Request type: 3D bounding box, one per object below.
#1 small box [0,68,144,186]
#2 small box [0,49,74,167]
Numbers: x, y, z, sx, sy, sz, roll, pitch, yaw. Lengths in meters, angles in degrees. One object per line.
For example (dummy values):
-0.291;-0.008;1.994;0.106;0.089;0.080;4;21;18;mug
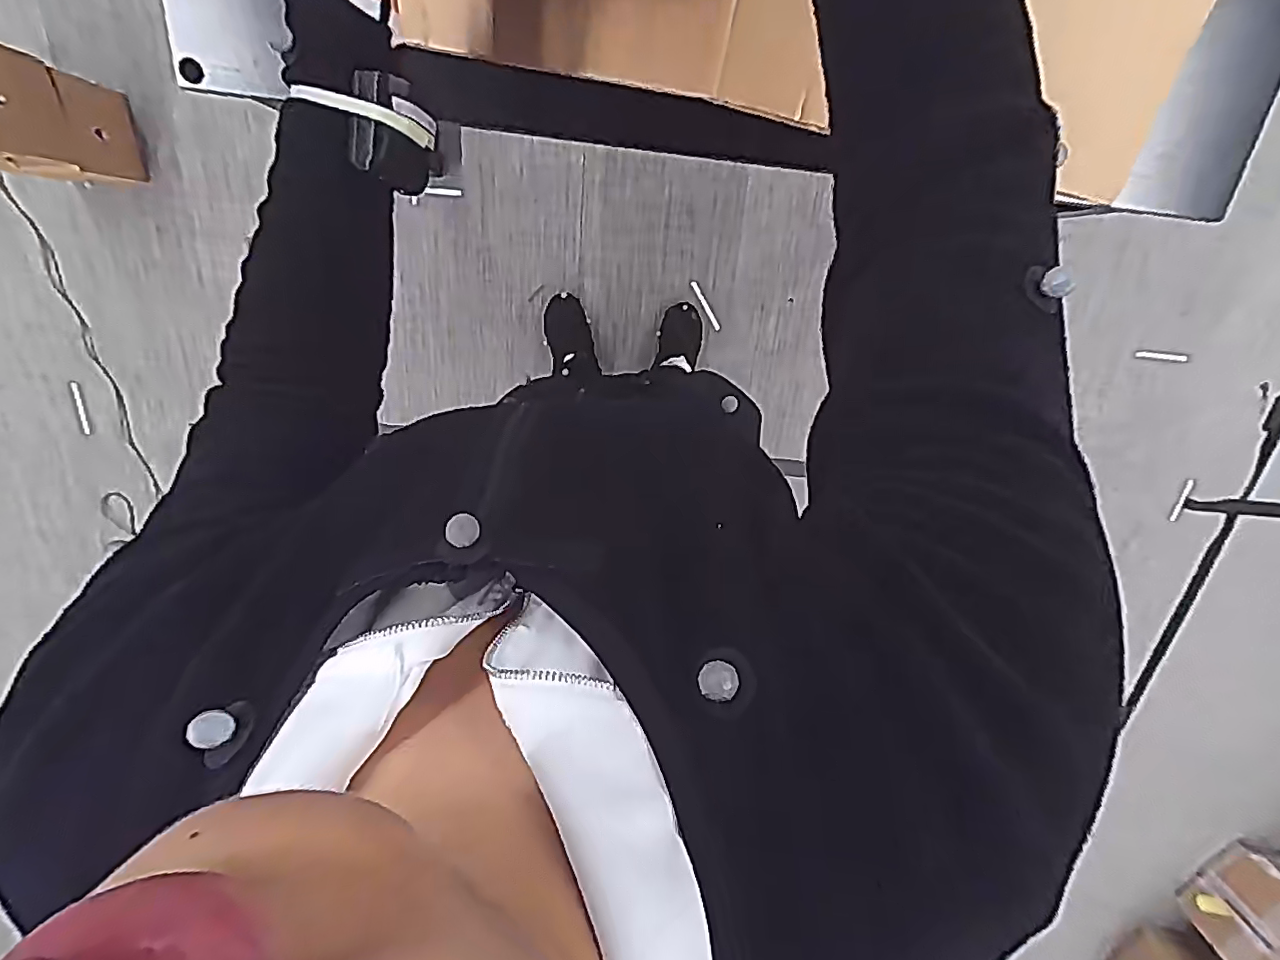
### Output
-1.181;-0.714;1.102;0.168;0.176;0.179;1;112;-3;small box
-1.173;-0.660;0.949;0.168;0.176;0.179;-2;111;-3;small box
